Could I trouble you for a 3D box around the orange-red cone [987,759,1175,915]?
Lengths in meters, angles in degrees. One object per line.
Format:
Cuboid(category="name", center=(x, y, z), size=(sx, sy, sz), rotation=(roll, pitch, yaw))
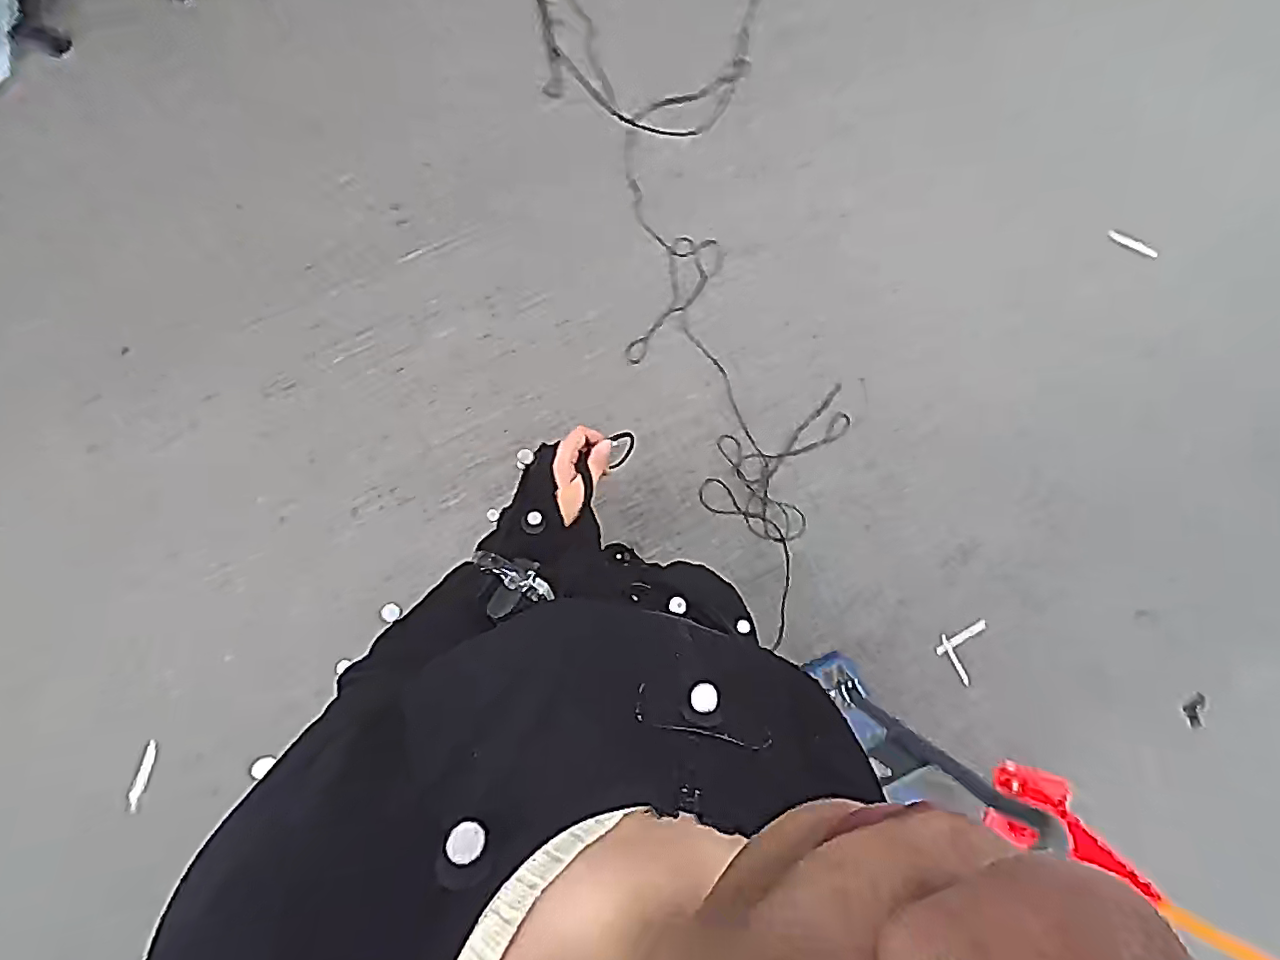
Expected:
Cuboid(category="orange-red cone", center=(1.006, 0.827, 1.213), size=(0.198, 0.360, 0.199), rotation=(18, 87, -1))
